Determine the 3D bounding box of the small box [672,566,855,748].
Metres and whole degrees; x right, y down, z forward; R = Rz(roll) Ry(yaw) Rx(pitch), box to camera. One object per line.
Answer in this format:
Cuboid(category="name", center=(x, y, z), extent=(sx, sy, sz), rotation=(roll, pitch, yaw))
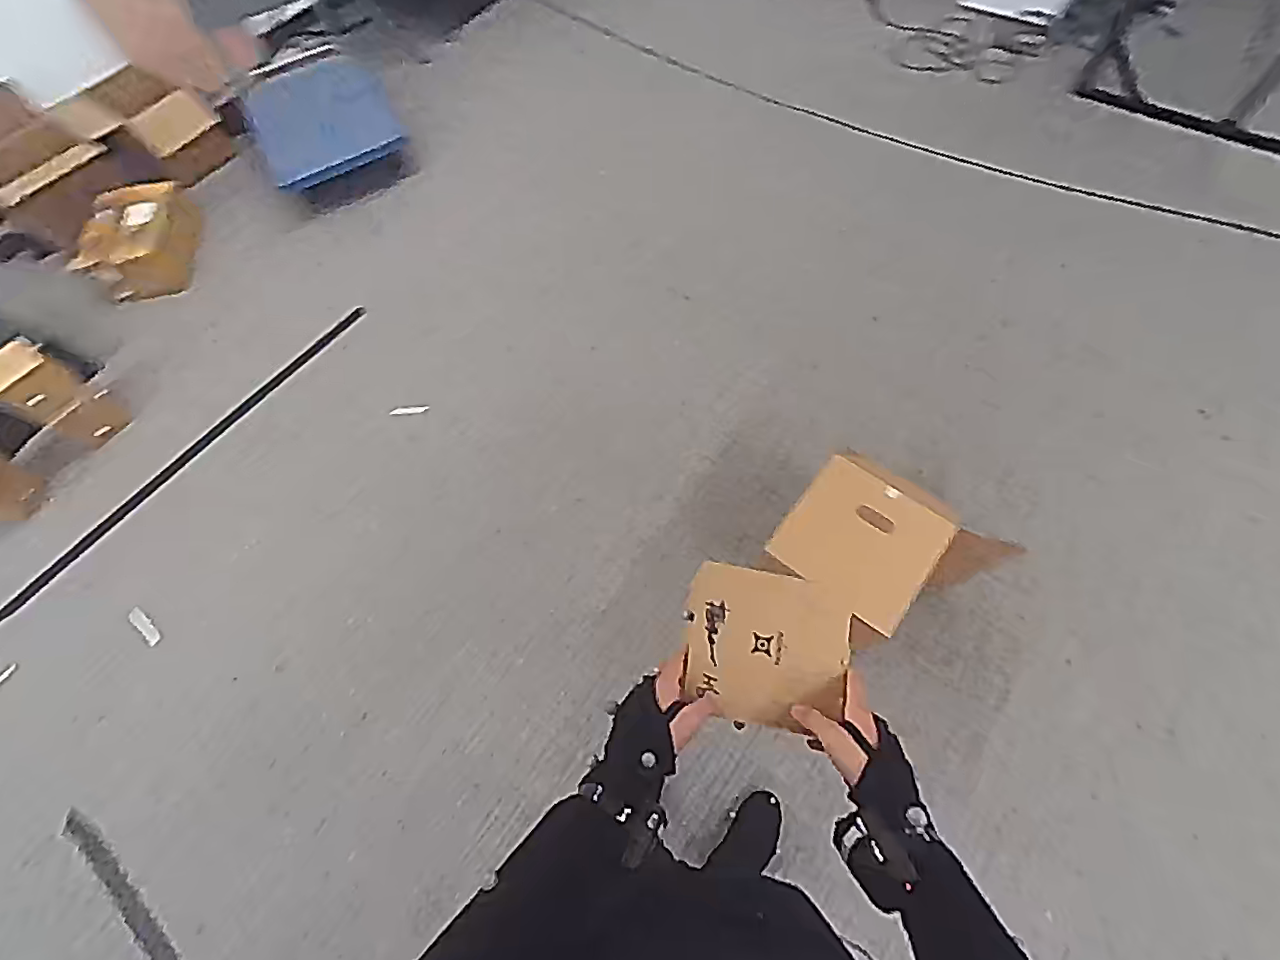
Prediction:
Cuboid(category="small box", center=(0.142, 0.212, 0.669), extent=(0.179, 0.176, 0.168), rotation=(10, 73, 3))
